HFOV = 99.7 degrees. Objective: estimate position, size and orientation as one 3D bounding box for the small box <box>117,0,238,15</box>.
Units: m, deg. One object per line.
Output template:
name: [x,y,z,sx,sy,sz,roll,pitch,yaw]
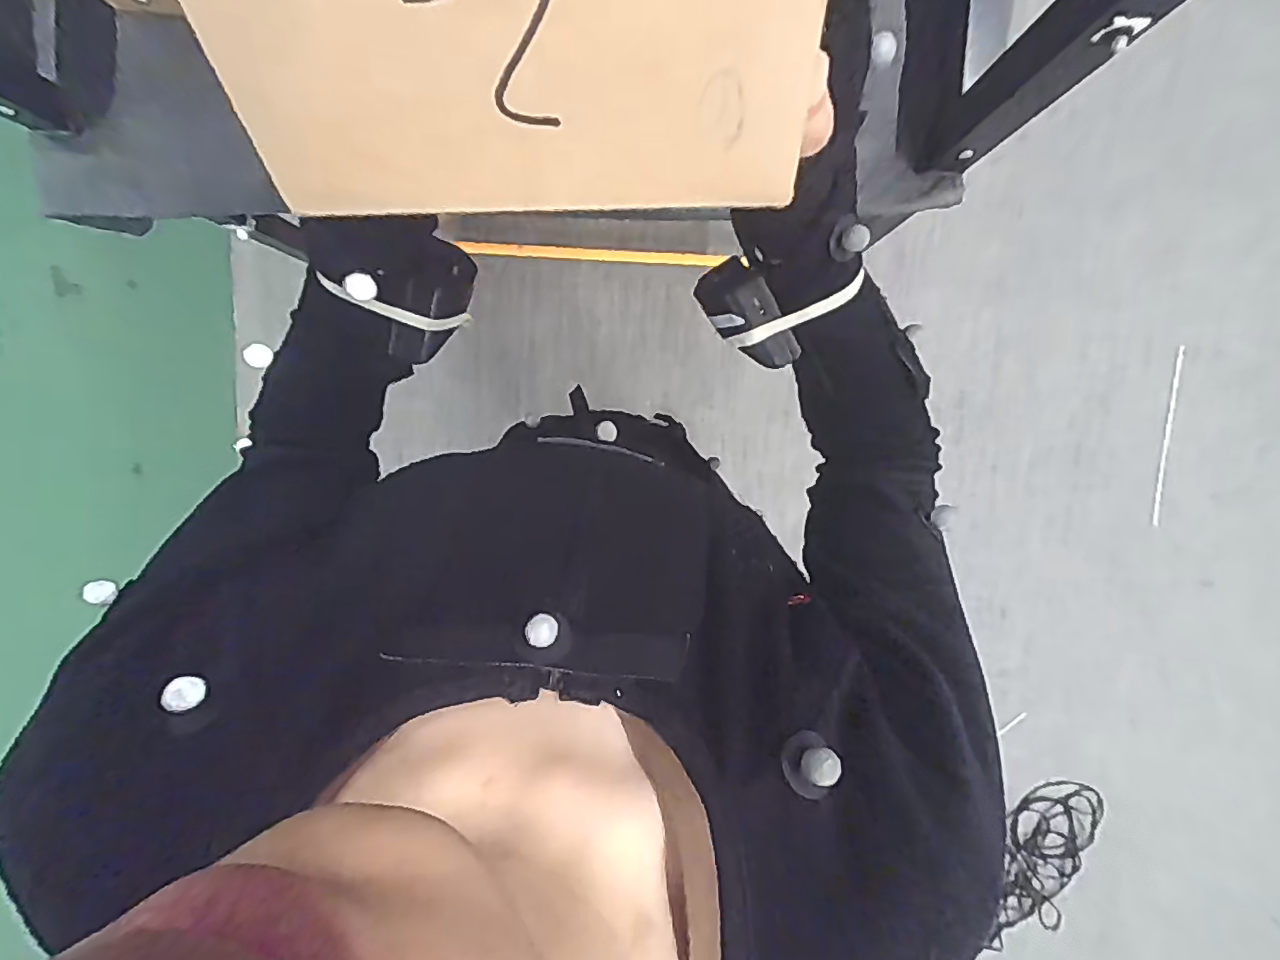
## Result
small box: [-0.577,-0.667,0.589,0.168,0.176,0.179,4,97,0]
